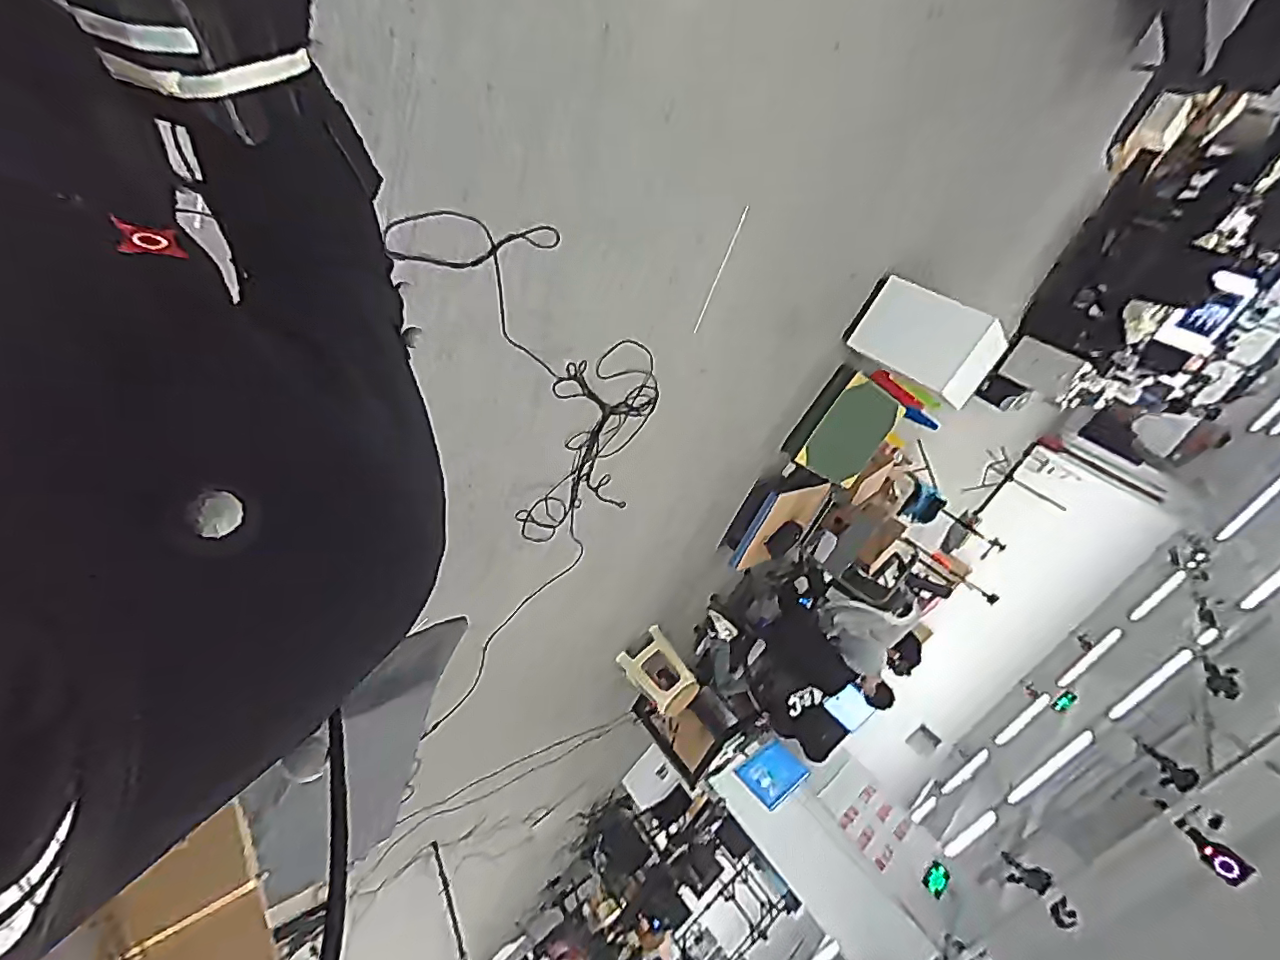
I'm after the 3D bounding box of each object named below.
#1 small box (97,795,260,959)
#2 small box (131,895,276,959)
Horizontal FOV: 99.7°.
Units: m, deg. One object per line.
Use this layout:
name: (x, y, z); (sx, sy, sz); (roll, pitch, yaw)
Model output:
small box: (-0.713, 0.642, 0.848); (0.168, 0.176, 0.179); (-17, 136, -39)
small box: (-0.620, 0.747, 0.766); (0.179, 0.176, 0.168); (-12, 132, -41)
